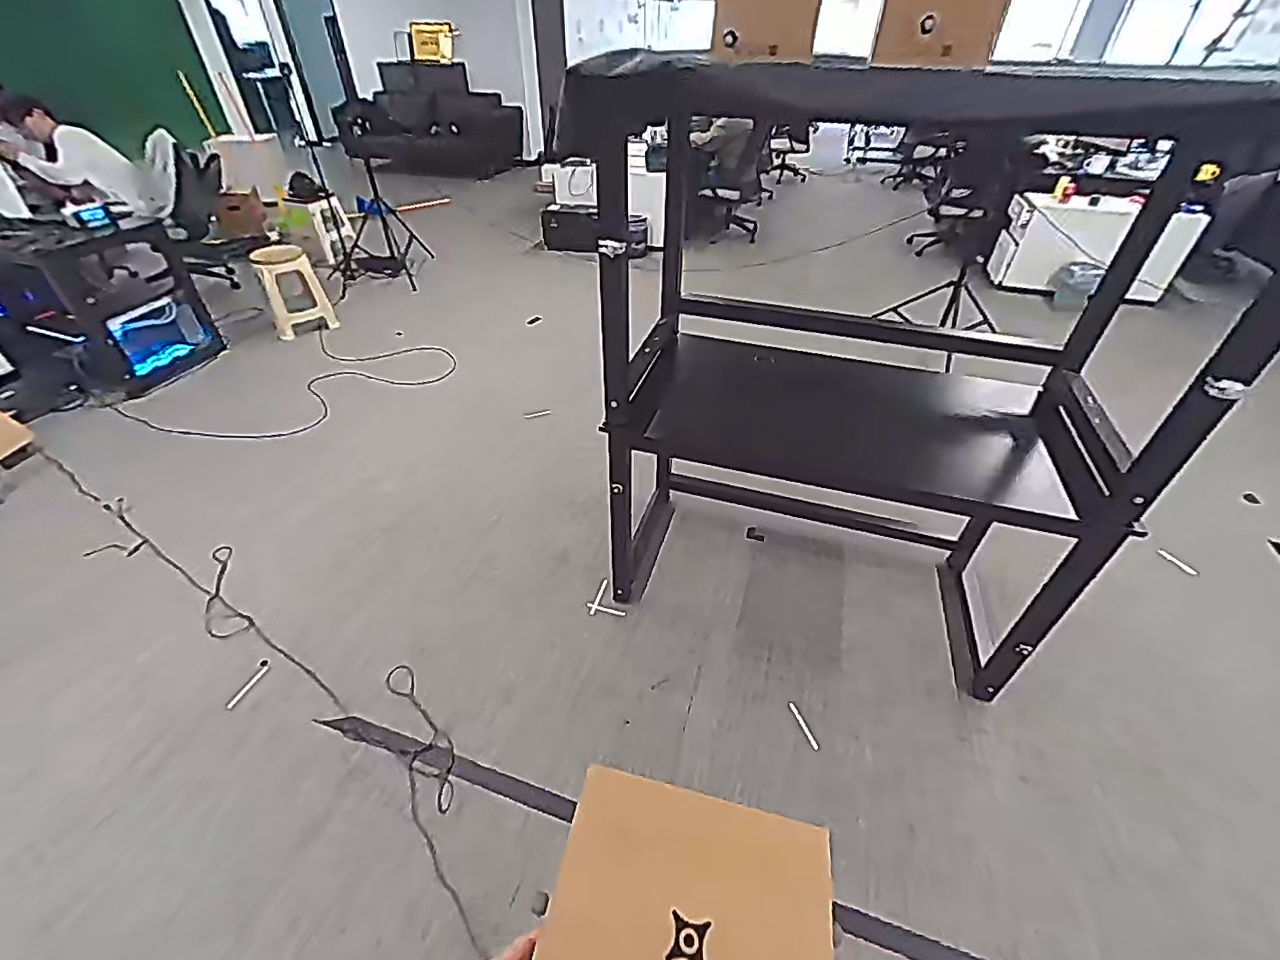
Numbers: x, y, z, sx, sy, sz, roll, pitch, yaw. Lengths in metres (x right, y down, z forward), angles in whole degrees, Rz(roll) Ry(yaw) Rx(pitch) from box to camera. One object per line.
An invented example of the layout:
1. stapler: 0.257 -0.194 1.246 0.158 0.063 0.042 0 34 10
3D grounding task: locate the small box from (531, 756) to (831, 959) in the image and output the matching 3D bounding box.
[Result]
1. small box: 0.019 0.324 0.356 0.168 0.176 0.179 11 41 8

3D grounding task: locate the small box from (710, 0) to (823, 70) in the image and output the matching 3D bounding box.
1. small box: 0.214 -0.783 0.891 0.168 0.176 0.179 11 39 10

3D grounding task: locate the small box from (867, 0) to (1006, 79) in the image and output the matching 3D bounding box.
1. small box: 0.461 -0.735 0.840 0.168 0.176 0.179 11 39 12
